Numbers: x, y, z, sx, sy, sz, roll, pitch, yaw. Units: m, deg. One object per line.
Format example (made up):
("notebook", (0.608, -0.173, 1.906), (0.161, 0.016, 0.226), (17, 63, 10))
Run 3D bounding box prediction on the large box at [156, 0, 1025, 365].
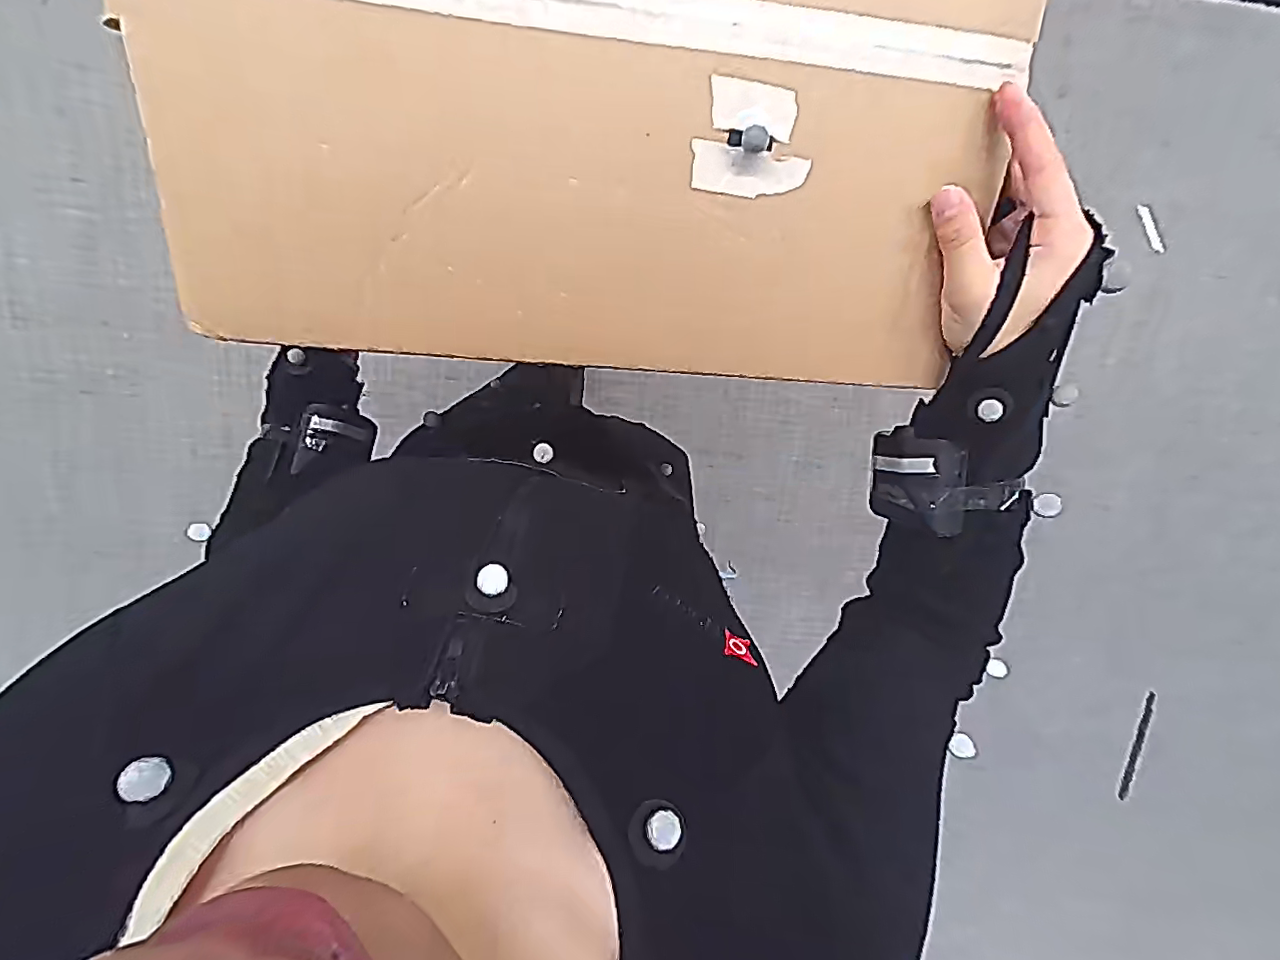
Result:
("large box", (-0.028, -0.267, 0.390), (0.408, 0.320, 0.320), (2, 111, -8))
